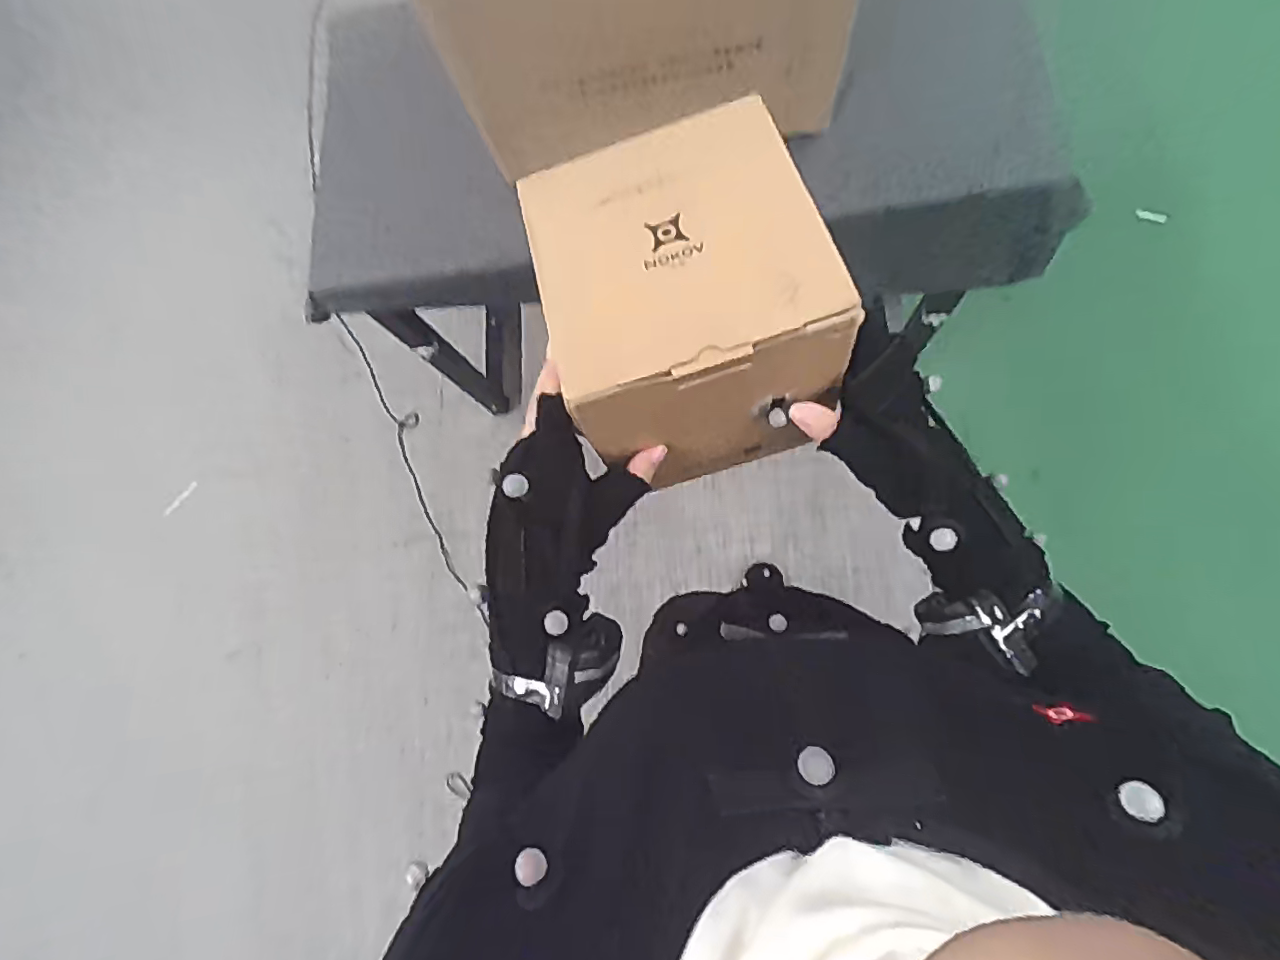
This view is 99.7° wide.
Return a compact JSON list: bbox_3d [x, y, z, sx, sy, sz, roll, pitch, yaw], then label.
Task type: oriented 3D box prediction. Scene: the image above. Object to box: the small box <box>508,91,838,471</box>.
[{"bbox_3d":[0.023,-0.120,0.390,0.168,0.176,0.179,-16,67,4],"label":"small box"}]
